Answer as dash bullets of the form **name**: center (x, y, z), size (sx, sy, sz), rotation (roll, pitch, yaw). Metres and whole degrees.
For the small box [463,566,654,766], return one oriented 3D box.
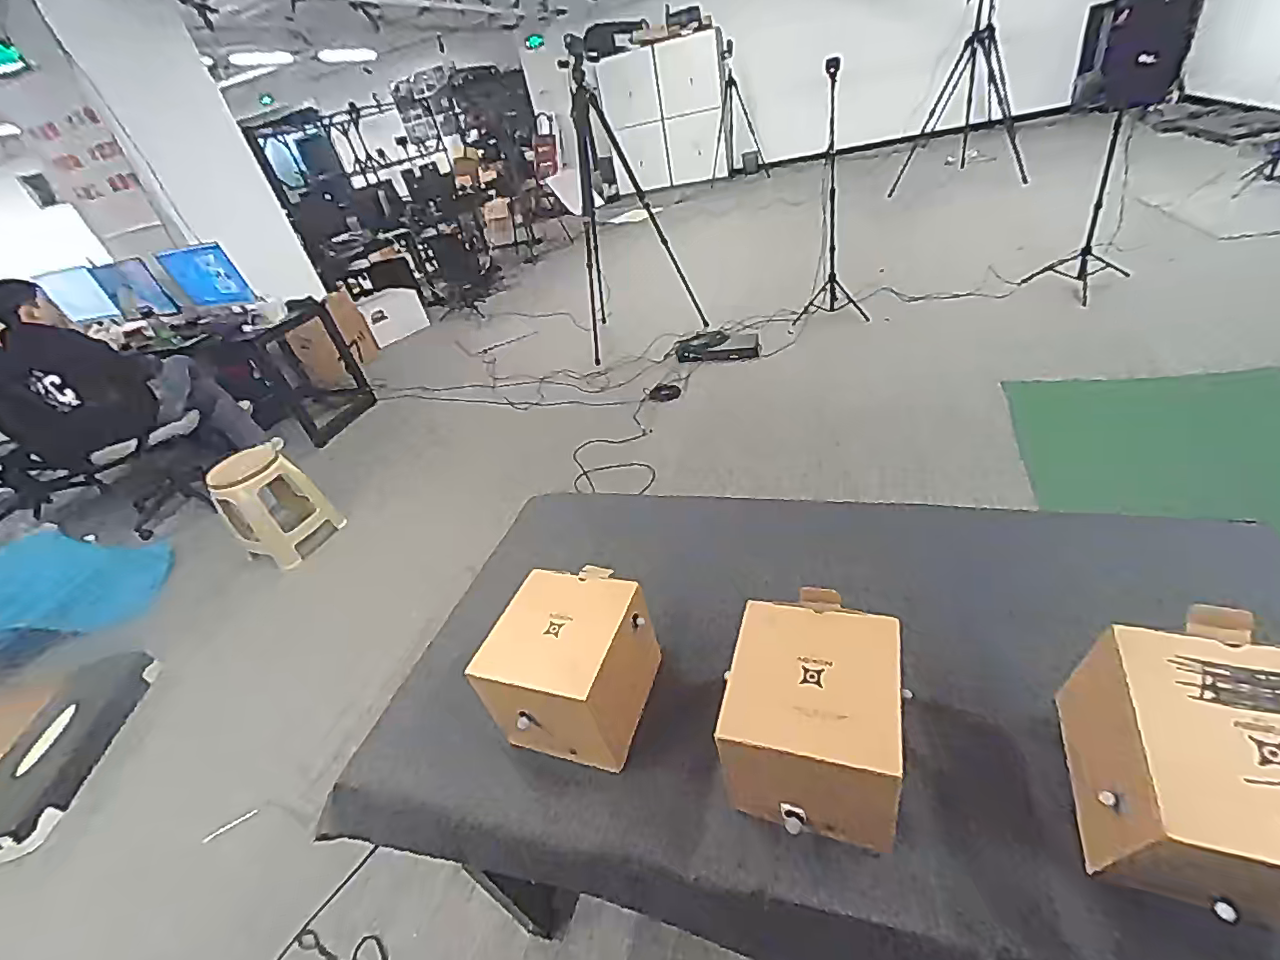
- **small box**: center (-0.091, 0.240, 0.709), size (0.168, 0.176, 0.179), rotation (2, 37, 22)

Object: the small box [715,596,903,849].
- **small box**: center (0.189, 0.256, 0.590), size (0.168, 0.176, 0.179), rotation (1, 38, 23)
